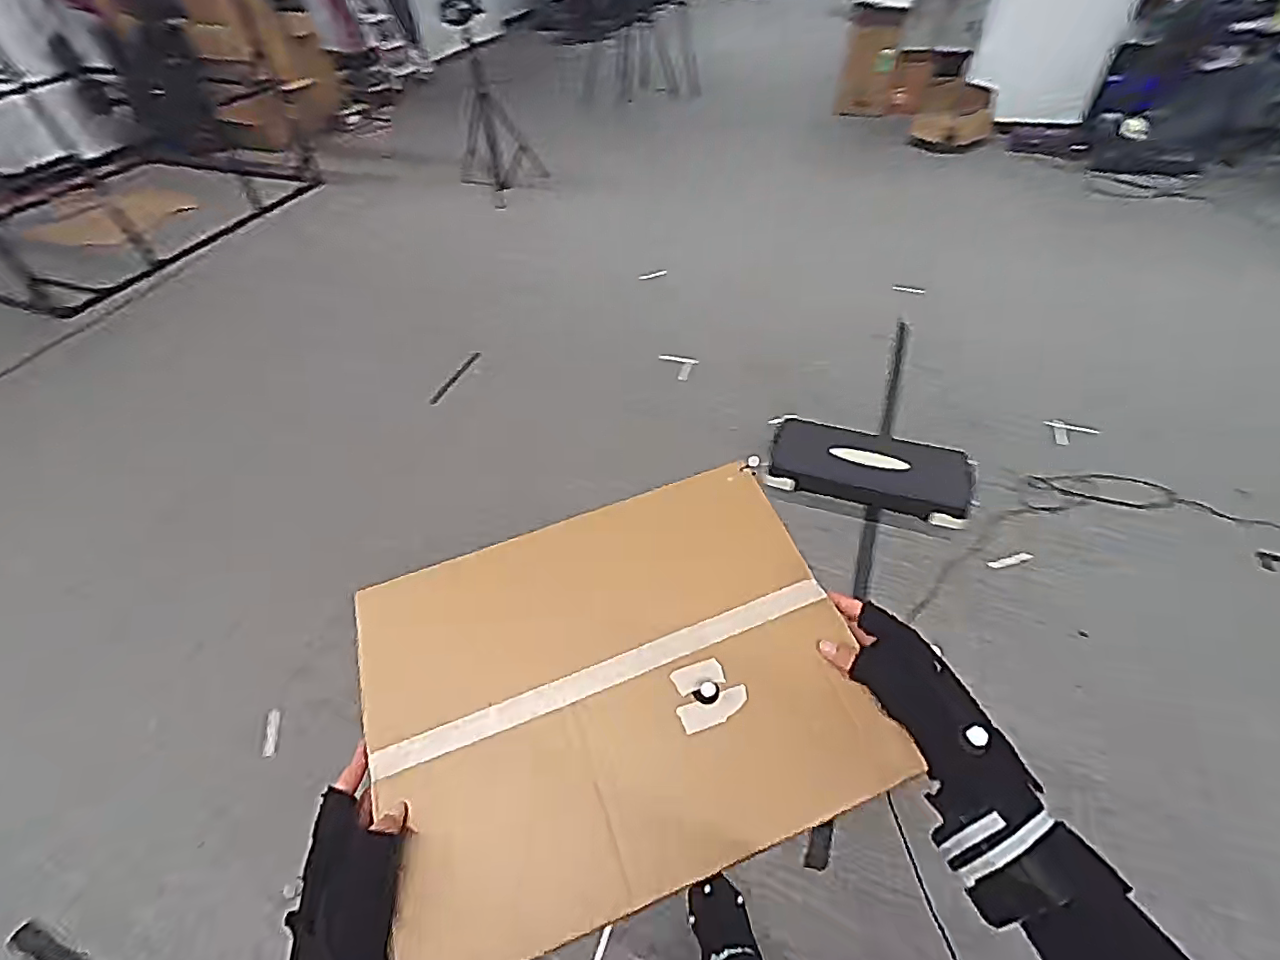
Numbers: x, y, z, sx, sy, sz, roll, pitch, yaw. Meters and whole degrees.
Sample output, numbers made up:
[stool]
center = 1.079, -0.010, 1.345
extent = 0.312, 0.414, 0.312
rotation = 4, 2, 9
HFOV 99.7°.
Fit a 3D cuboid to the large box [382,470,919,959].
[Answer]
[large box]
center = -0.008, 0.250, 0.597
extent = 0.408, 0.320, 0.320
rotation = -18, 58, -9
